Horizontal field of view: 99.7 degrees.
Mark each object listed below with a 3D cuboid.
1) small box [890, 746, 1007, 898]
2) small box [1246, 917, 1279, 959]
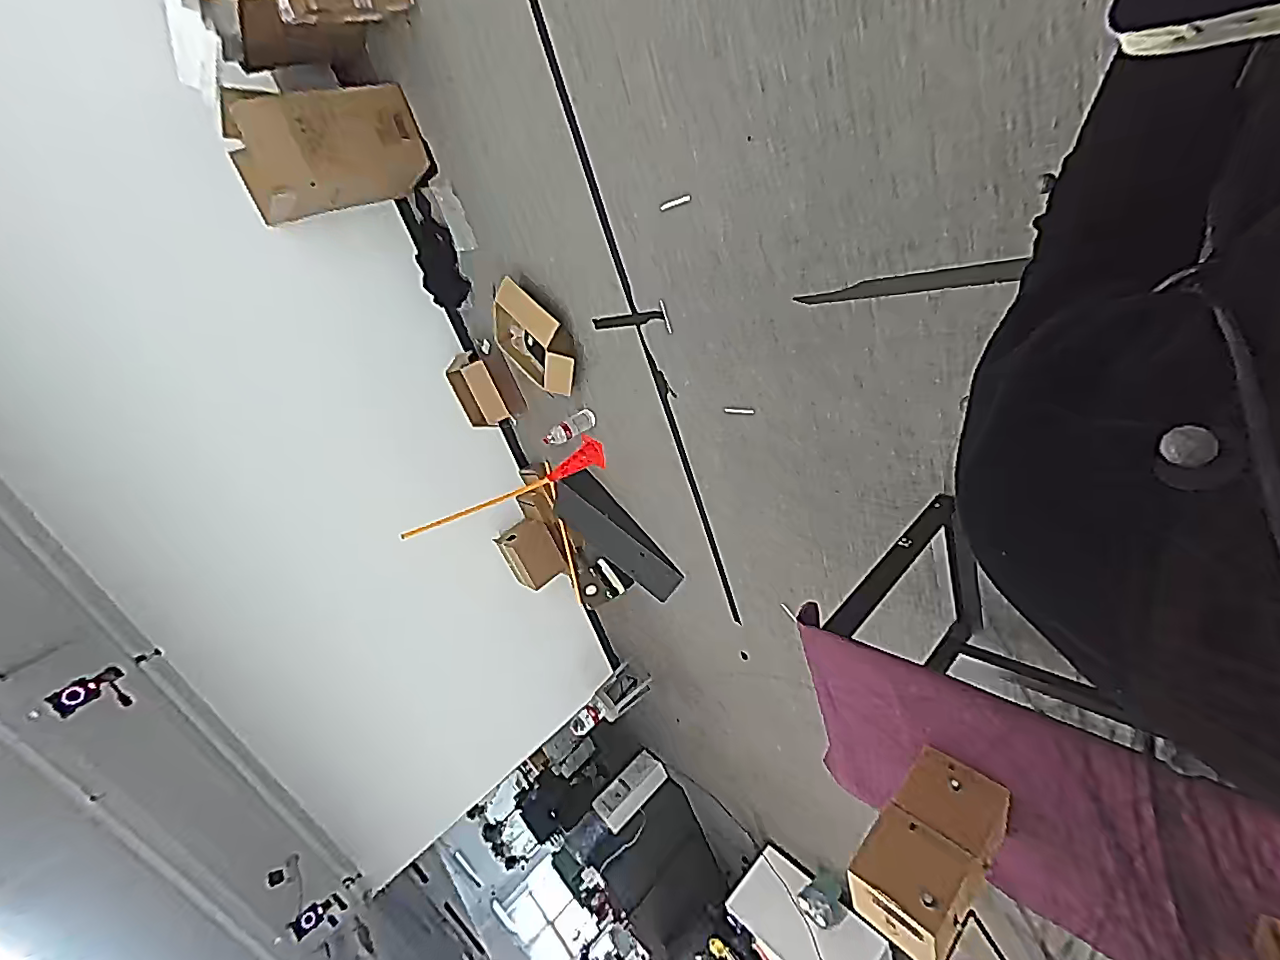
[{"bbox_3d":[0.650,0.714,1.142,0.168,0.176,0.179,18,134,46],"label":"small box"},{"bbox_3d":[0.958,0.771,0.748,0.168,0.176,0.179,14,131,50],"label":"small box"}]
